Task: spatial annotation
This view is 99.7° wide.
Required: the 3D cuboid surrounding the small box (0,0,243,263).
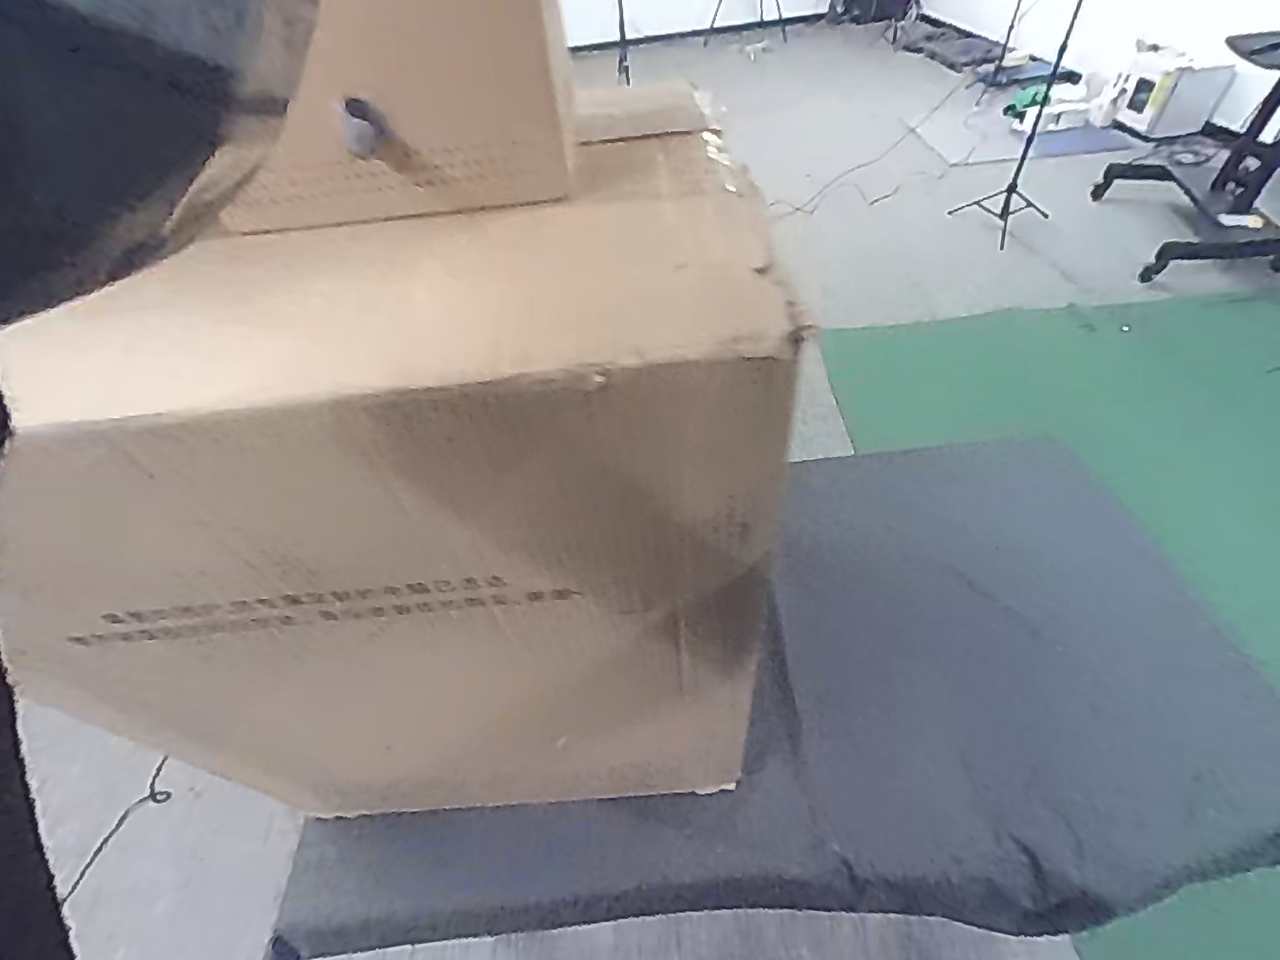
[{"bbox_3d":[-0.343,-0.222,0.273,0.179,0.176,0.168,-8,51,-1],"label":"small box"}]
